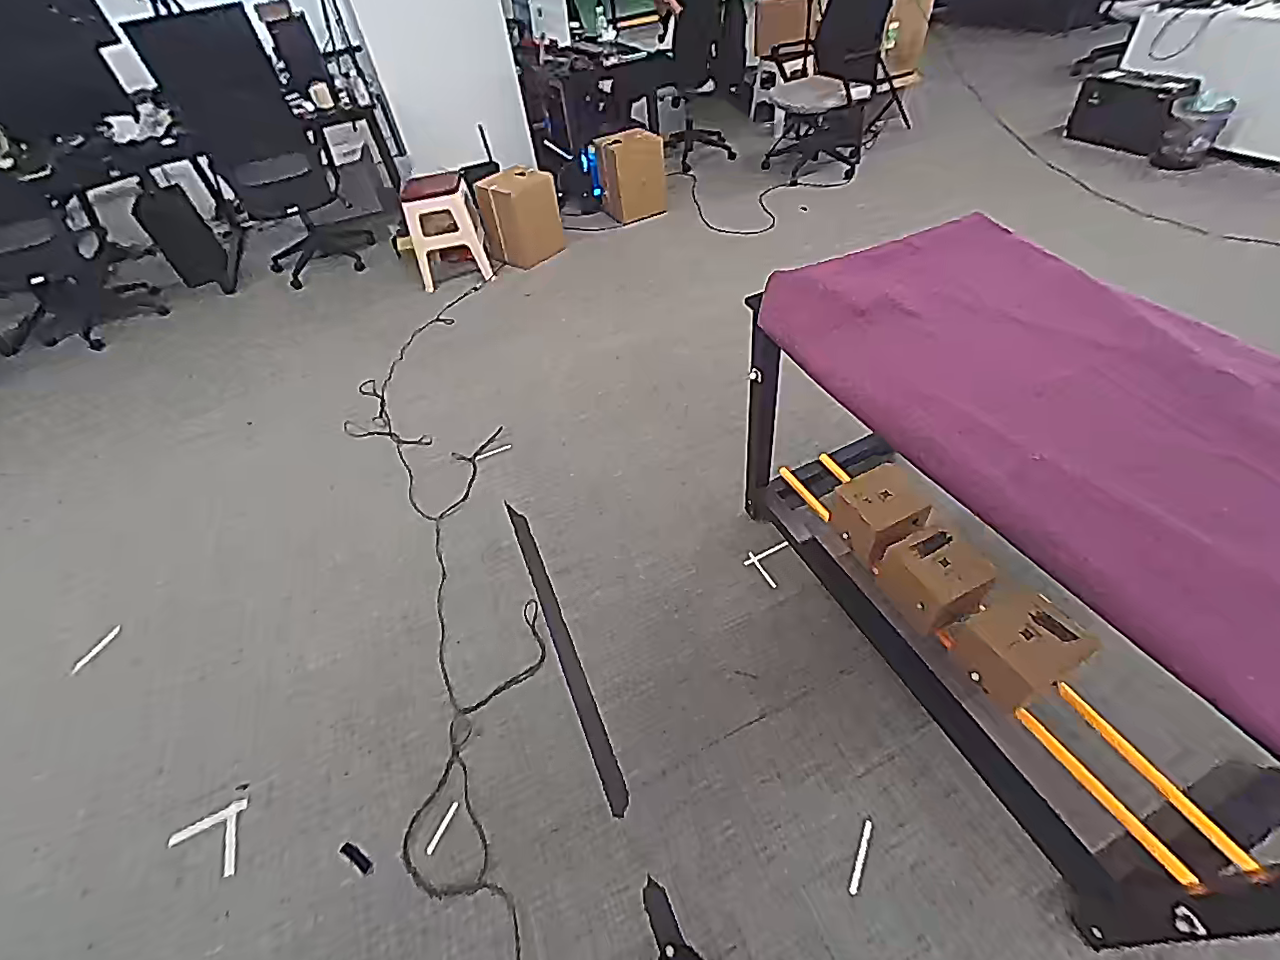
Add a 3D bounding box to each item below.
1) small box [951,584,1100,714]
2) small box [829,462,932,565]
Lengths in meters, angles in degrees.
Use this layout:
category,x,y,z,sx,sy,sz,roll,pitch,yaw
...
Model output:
category,x,y,z,sx,sy,sz,roll,pitch,yaw
small box,0.802,0.361,1.149,0.179,0.176,0.168,-26,48,-11
small box,0.623,0.090,1.426,0.179,0.176,0.168,-24,49,-10
